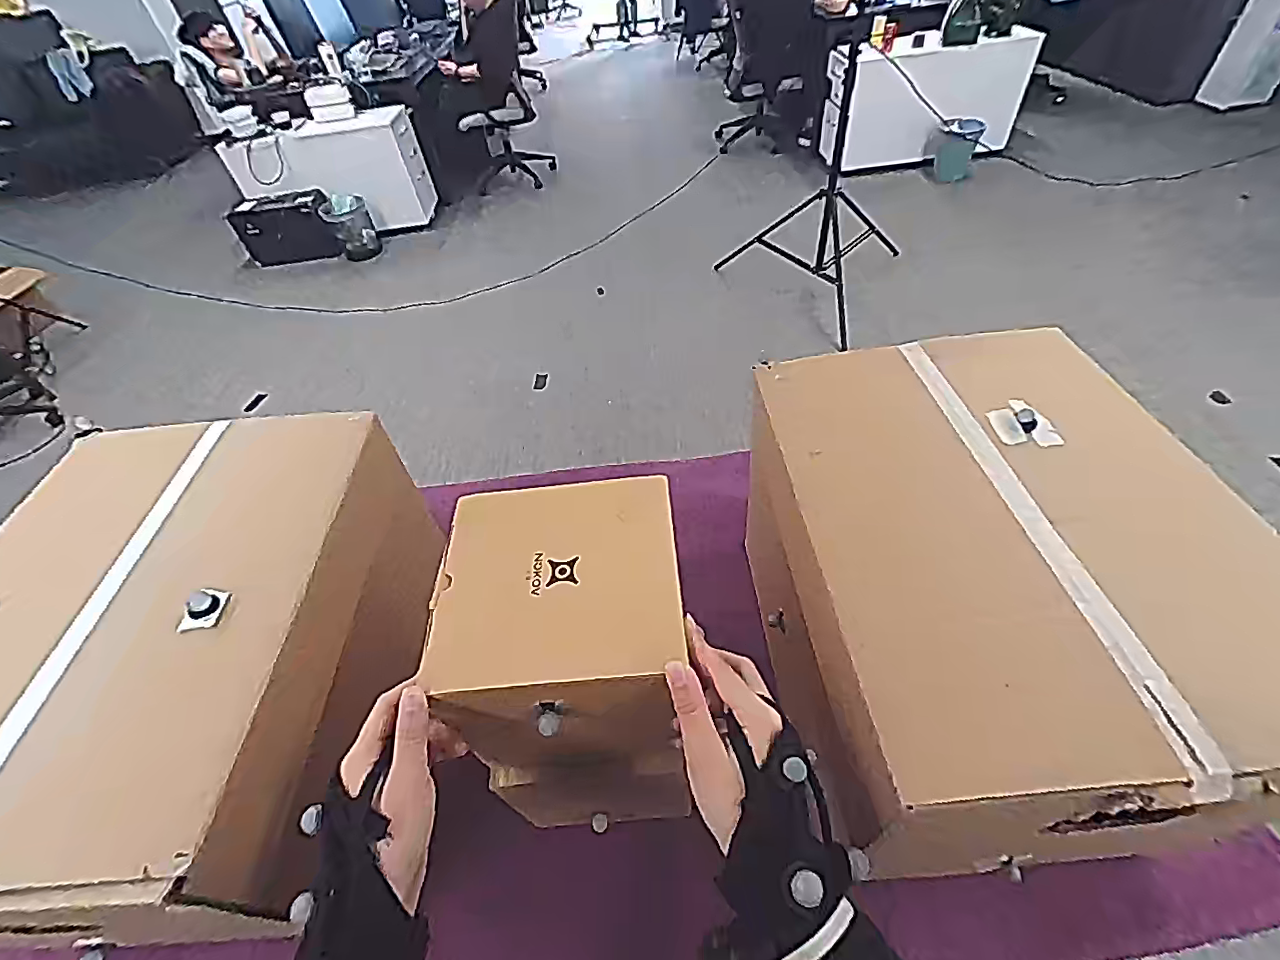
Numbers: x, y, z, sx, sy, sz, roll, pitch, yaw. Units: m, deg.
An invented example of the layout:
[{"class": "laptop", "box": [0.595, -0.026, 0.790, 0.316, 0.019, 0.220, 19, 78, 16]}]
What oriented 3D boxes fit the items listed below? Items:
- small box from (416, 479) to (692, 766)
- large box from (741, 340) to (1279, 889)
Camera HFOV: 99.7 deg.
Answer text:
[{"class": "small box", "box": [-0.050, 0.122, 0.448, 0.179, 0.176, 0.168, -7, 47, 3]}, {"class": "large box", "box": [0.291, 0.119, 0.531, 0.320, 0.320, 0.408, -7, 46, 1]}]
